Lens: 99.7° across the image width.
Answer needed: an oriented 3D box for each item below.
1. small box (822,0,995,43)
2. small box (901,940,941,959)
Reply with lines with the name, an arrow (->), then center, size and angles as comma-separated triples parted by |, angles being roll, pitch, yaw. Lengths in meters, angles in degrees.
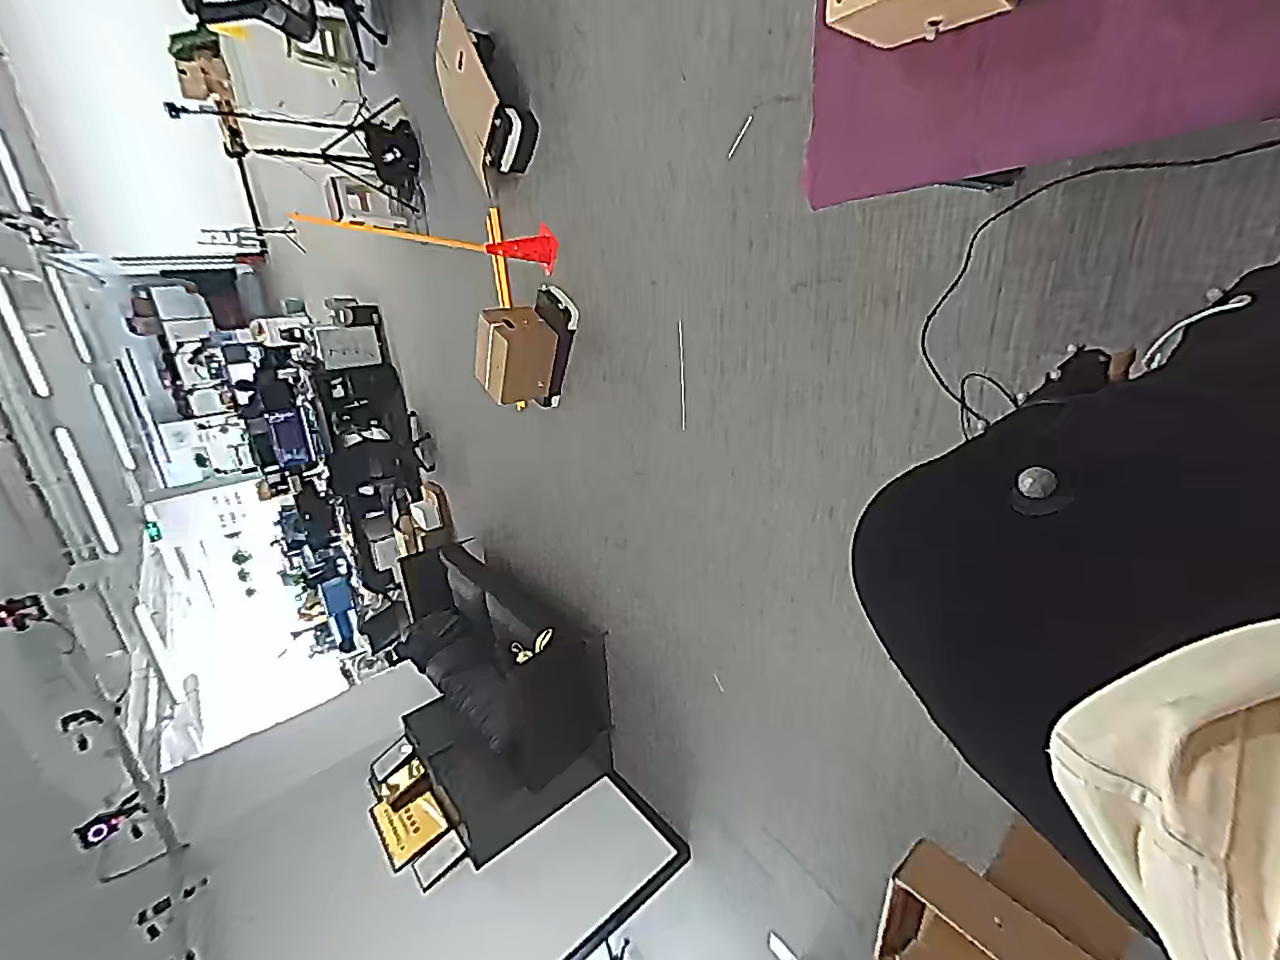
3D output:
small box -> 0.353, -0.681, 0.671 | 0.179, 0.176, 0.168 | 20, 121, 45
small box -> 0.727, 1.332, 1.360 | 0.179, 0.176, 0.168 | 25, 123, 46
